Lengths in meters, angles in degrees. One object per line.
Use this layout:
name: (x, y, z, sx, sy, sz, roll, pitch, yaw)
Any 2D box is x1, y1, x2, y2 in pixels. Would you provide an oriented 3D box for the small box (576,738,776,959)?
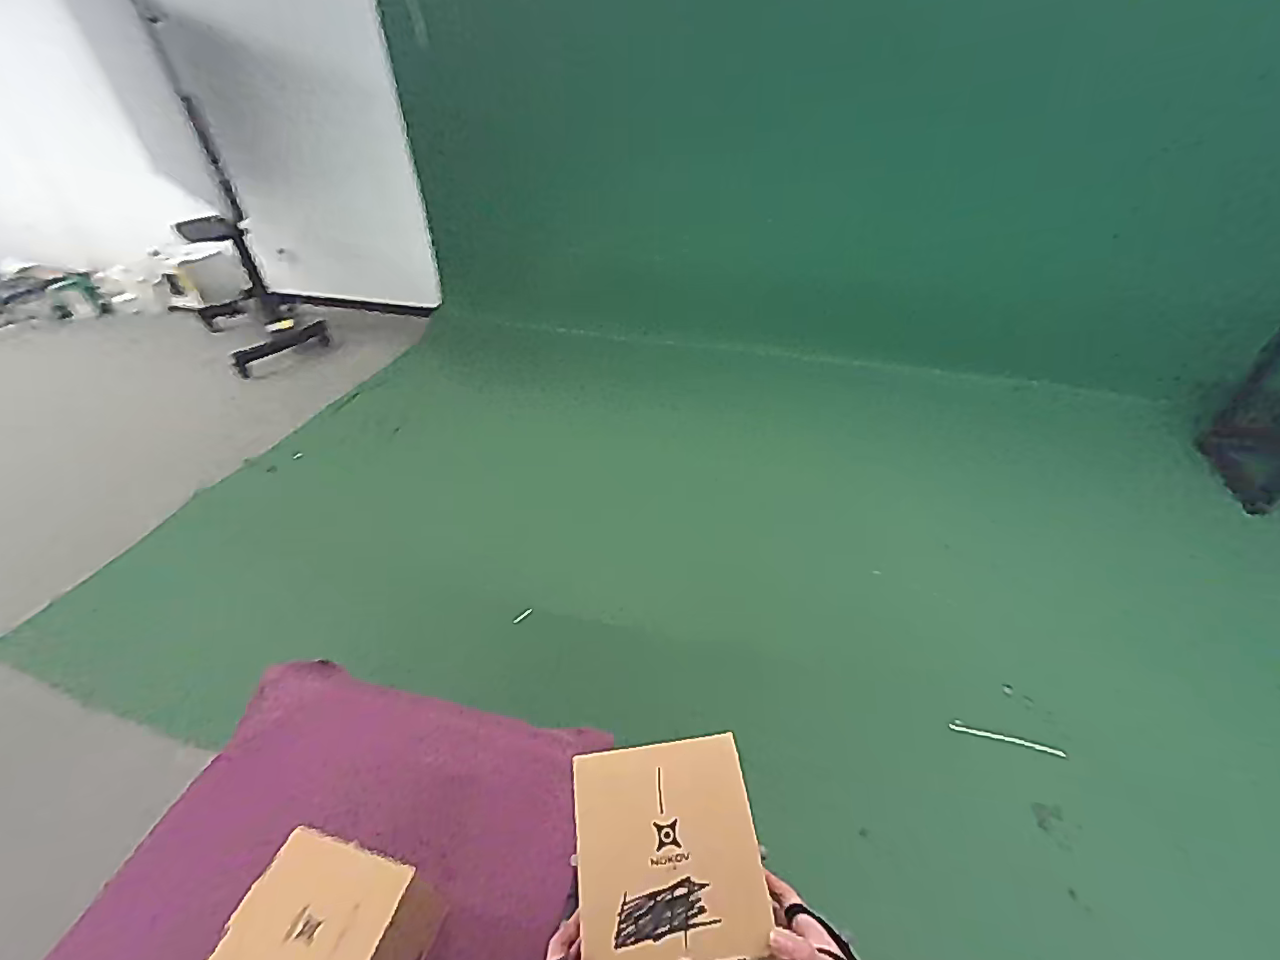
small box: (0.028, 0.387, 0.552, 0.168, 0.176, 0.179, -6, 49, -3)

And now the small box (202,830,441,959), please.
small box: (-0.375, 0.565, 0.653, 0.179, 0.176, 0.168, 10, 41, 13)
